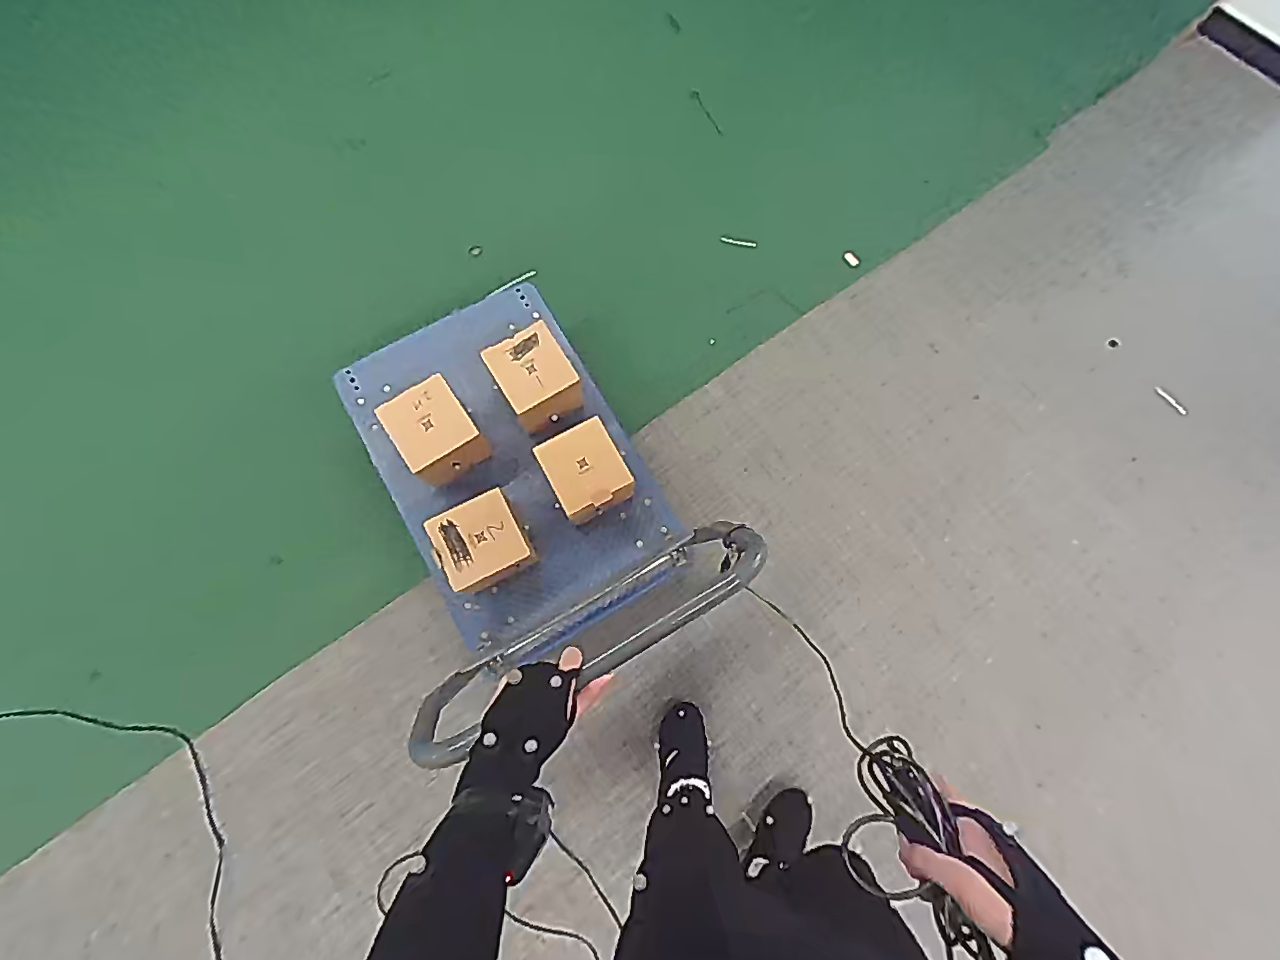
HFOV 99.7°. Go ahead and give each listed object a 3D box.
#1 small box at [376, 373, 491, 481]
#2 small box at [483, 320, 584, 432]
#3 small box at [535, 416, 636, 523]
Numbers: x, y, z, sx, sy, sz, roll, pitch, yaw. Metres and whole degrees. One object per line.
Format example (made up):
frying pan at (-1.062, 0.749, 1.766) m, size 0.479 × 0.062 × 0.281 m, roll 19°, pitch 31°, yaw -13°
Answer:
small box at (-0.467, -0.112, 1.253) m, size 0.168 × 0.176 × 0.179 m, roll -33°, pitch 82°, yaw -10°
small box at (-0.248, -0.242, 1.294) m, size 0.168 × 0.176 × 0.179 m, roll -31°, pitch 83°, yaw -9°
small box at (-0.126, -0.017, 1.256) m, size 0.168 × 0.176 × 0.179 m, roll -28°, pitch 82°, yaw -9°
